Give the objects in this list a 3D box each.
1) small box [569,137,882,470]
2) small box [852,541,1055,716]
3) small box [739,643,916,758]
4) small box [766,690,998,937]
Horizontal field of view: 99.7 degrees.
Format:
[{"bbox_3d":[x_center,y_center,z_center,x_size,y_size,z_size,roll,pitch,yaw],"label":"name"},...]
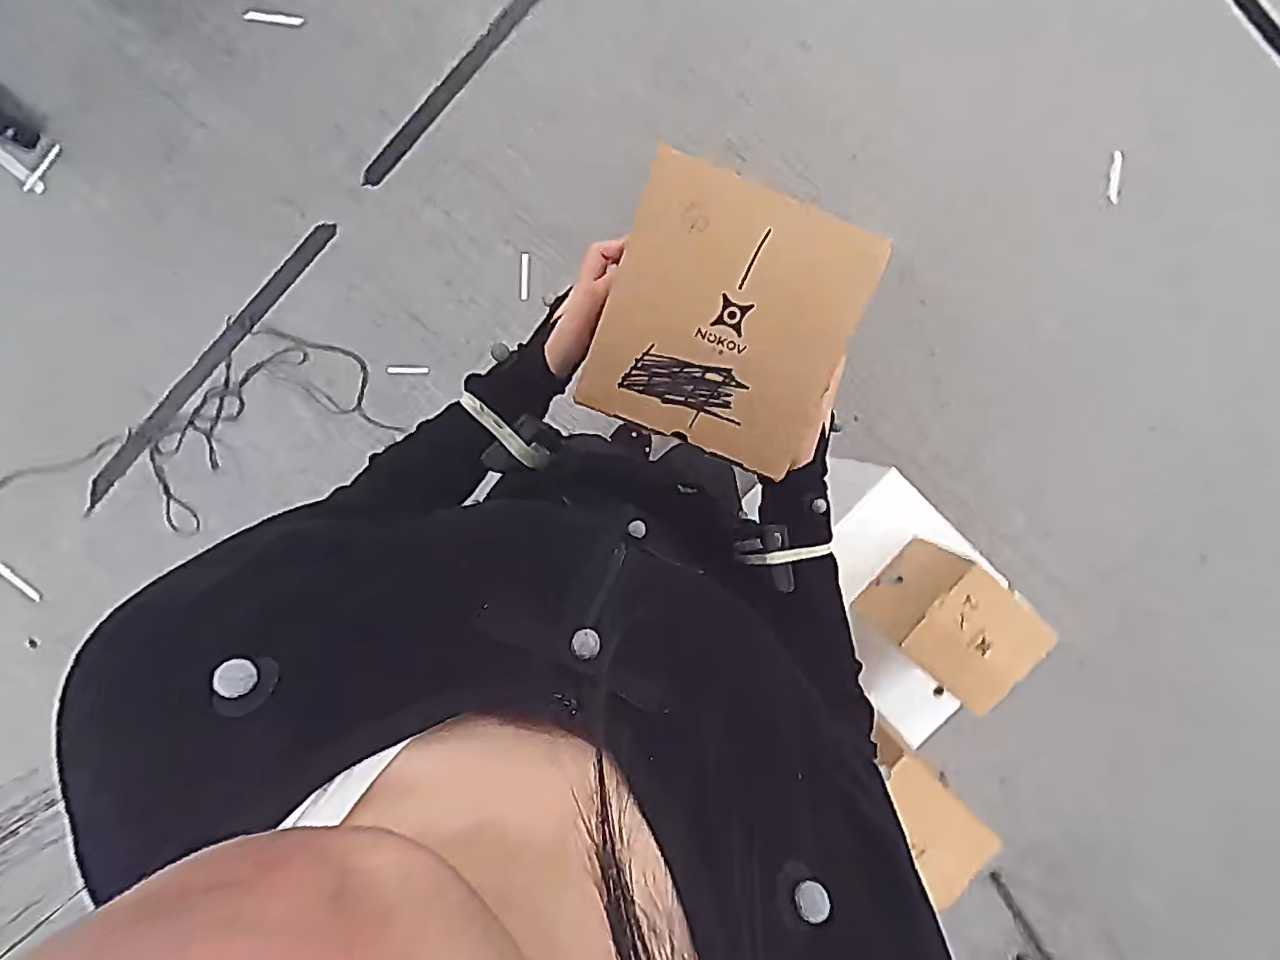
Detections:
[{"bbox_3d":[0.057,-0.134,0.443,0.168,0.176,0.179,20,106,-4],"label":"small box"},{"bbox_3d":[0.475,0.219,0.847,0.179,0.176,0.168,42,94,-5],"label":"small box"},{"bbox_3d":[0.282,0.385,0.860,0.168,0.176,0.179,-45,95,2],"label":"small box"},{"bbox_3d":[0.296,0.411,0.699,0.179,0.176,0.168,44,91,-6],"label":"small box"}]
